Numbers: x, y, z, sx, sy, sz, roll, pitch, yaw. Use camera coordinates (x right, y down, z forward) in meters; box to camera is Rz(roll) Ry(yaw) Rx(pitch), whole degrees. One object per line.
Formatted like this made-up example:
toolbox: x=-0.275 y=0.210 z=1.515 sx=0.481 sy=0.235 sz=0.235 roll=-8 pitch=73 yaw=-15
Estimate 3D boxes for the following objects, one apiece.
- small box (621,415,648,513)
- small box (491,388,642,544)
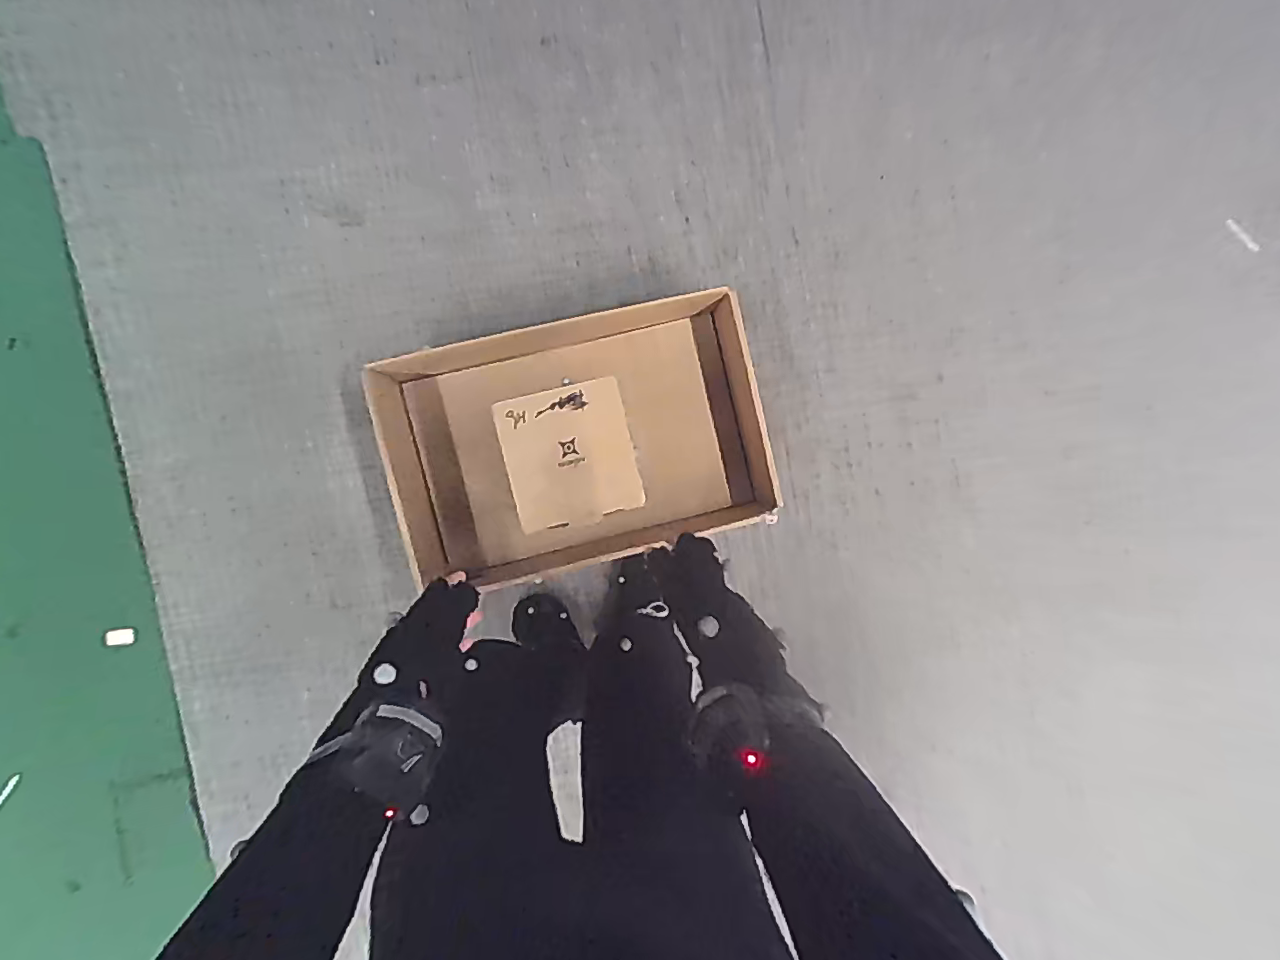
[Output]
small box: x=-0.097 y=-0.011 z=0.940 sx=0.179 sy=0.176 sz=0.168 roll=-15 pitch=93 yaw=-4
small box: x=-0.097 y=-0.022 z=0.776 sx=0.168 sy=0.176 sz=0.179 roll=-14 pitch=93 yaw=-3
